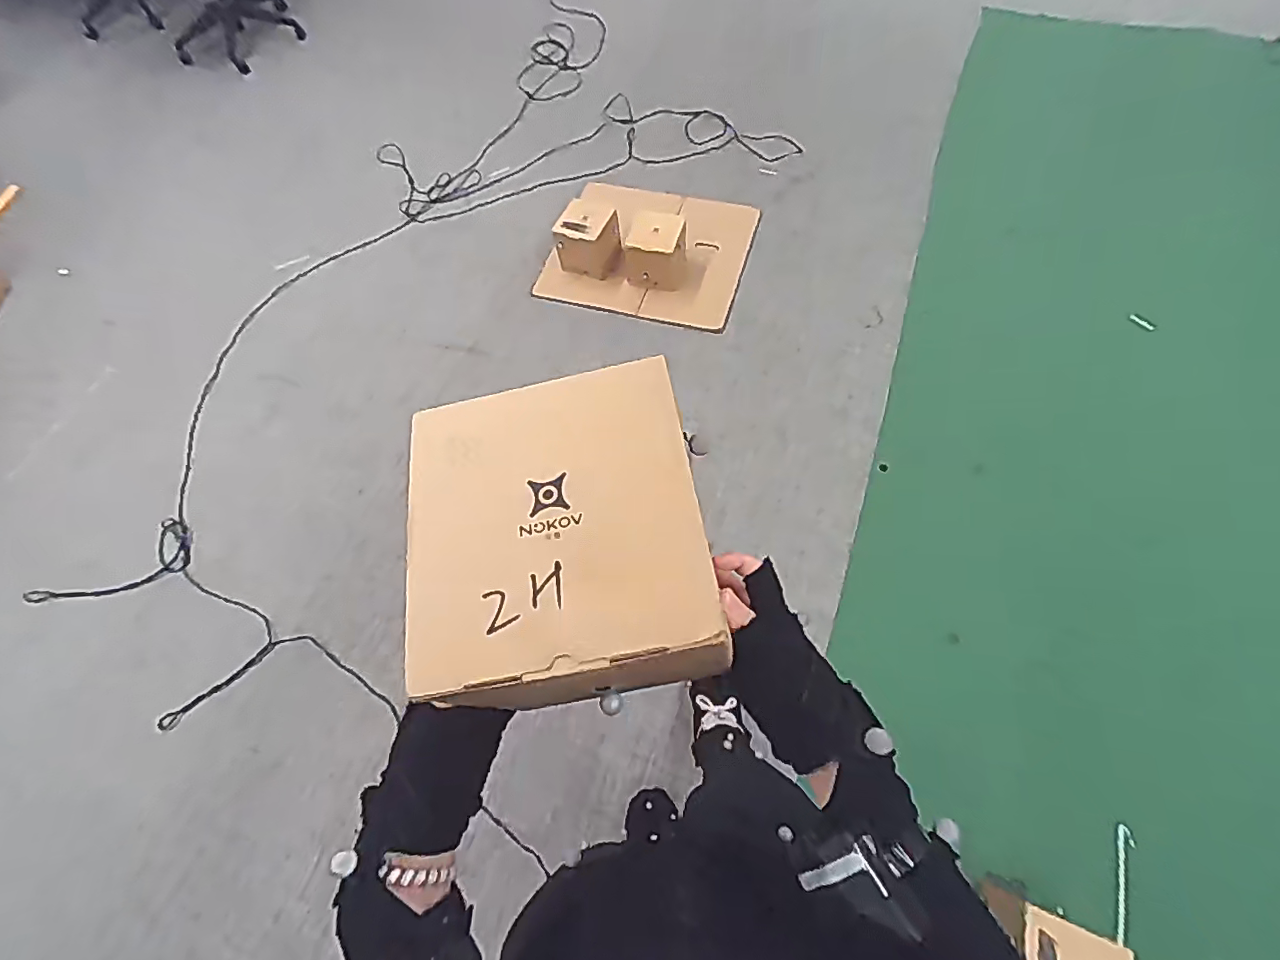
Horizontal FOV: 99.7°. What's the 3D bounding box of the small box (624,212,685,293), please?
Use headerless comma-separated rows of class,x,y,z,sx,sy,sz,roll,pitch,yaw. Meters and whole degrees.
small box,0.050,-0.776,1.847,0.168,0.176,0.179,14,67,10

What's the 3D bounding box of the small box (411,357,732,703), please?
small box,-0.036,0.048,0.376,0.168,0.176,0.179,-12,65,4

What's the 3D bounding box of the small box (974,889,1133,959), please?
small box,0.751,0.893,0.998,0.179,0.176,0.168,19,67,12
